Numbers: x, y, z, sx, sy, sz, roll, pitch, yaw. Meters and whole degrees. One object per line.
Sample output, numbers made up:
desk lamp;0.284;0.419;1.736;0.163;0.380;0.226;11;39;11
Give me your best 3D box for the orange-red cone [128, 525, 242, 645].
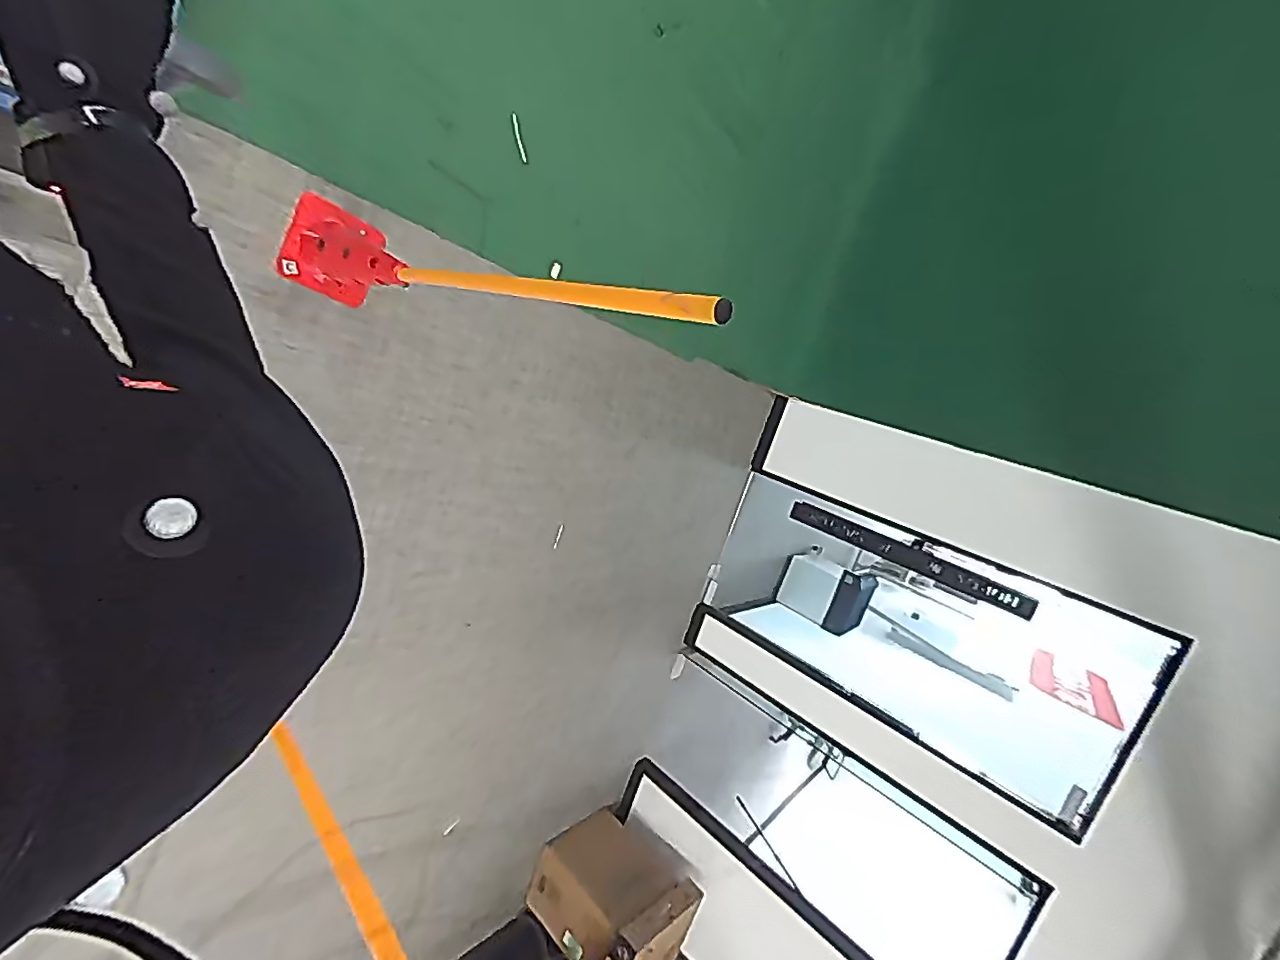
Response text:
orange-red cone;-0.975;0.261;1.207;0.199;0.360;0.198;9;104;-51
